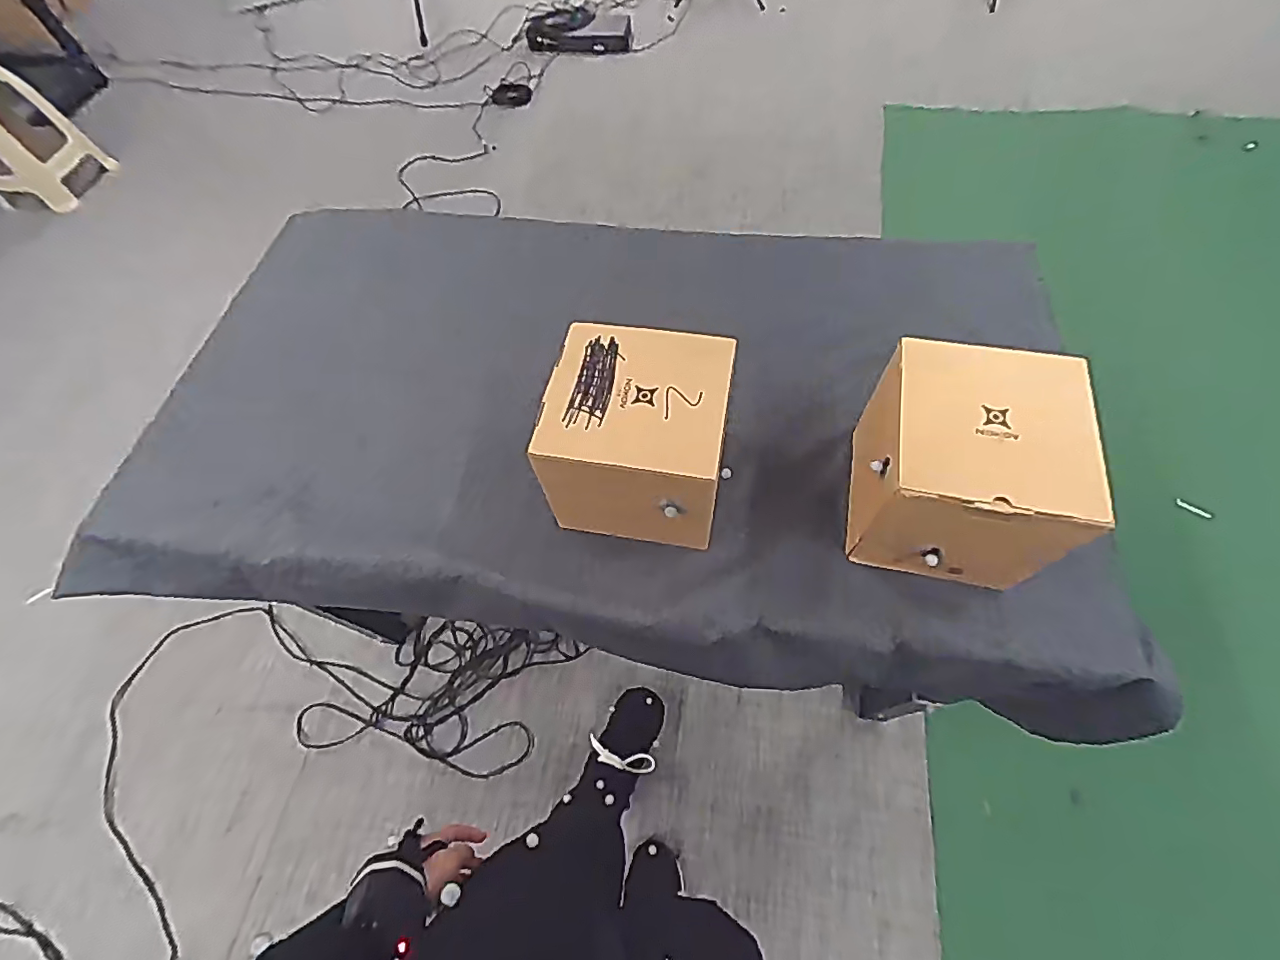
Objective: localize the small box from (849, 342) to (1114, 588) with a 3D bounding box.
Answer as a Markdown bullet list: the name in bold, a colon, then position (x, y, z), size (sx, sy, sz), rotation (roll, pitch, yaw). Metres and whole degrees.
- **small box**: position (0.321, -0.010, 0.550), size (0.168, 0.176, 0.179), rotation (10, 63, 10)
